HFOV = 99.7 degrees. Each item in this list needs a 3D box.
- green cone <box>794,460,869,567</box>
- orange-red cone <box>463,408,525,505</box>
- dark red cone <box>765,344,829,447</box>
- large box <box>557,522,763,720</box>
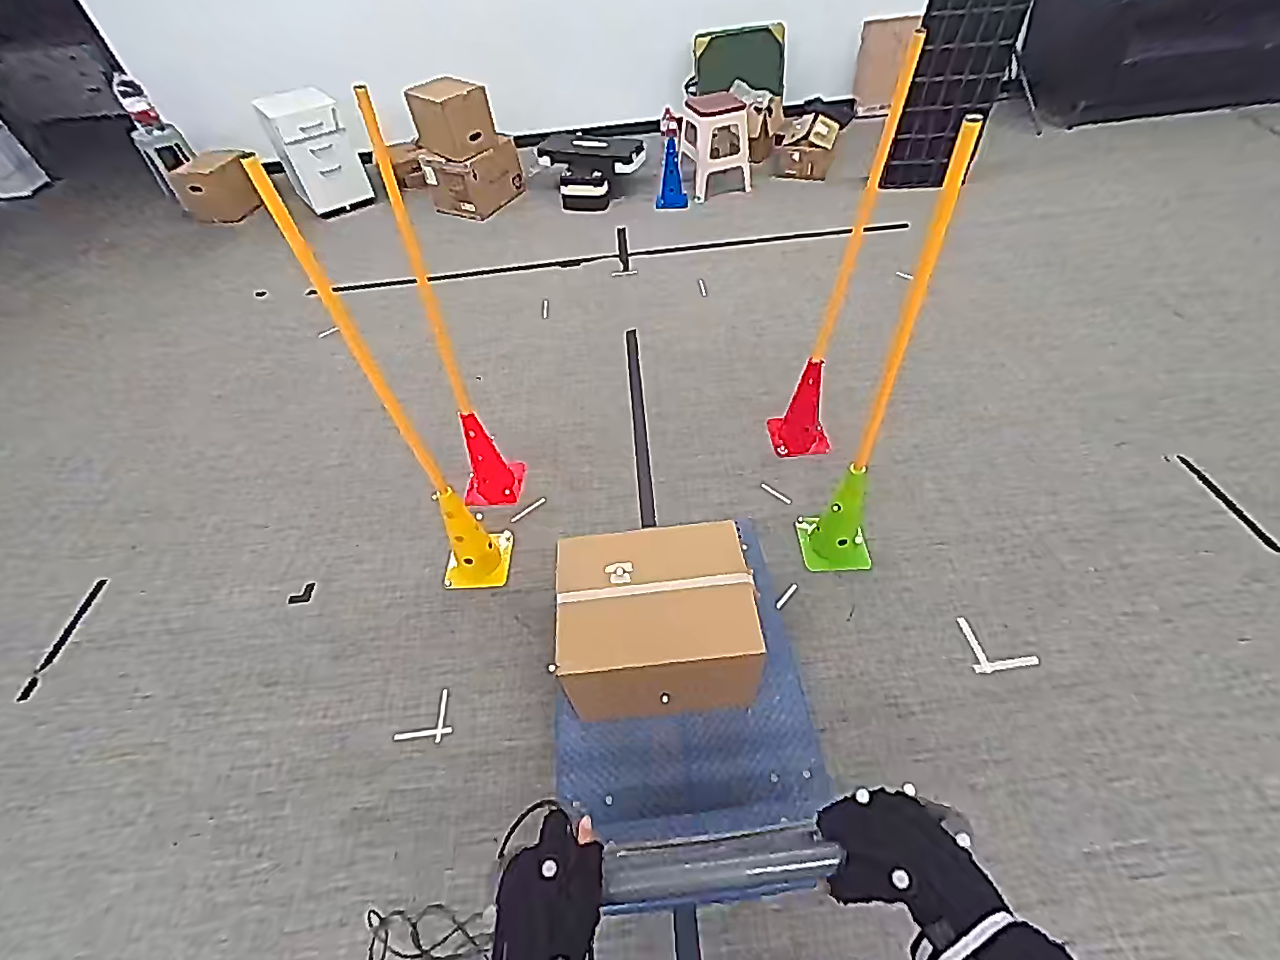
[{"bbox_3d":[0.596,0.080,1.588,0.202,0.368,0.200,-2,49,2],"label":"green cone"},{"bbox_3d":[-0.539,-0.101,1.849,0.198,0.360,0.199,0,48,4],"label":"orange-red cone"},{"bbox_3d":[0.577,-0.300,1.890,0.201,0.394,0.202,-5,50,-1],"label":"dark red cone"},{"bbox_3d":[0.038,0.329,1.238,0.408,0.320,0.320,-7,50,0],"label":"large box"}]
